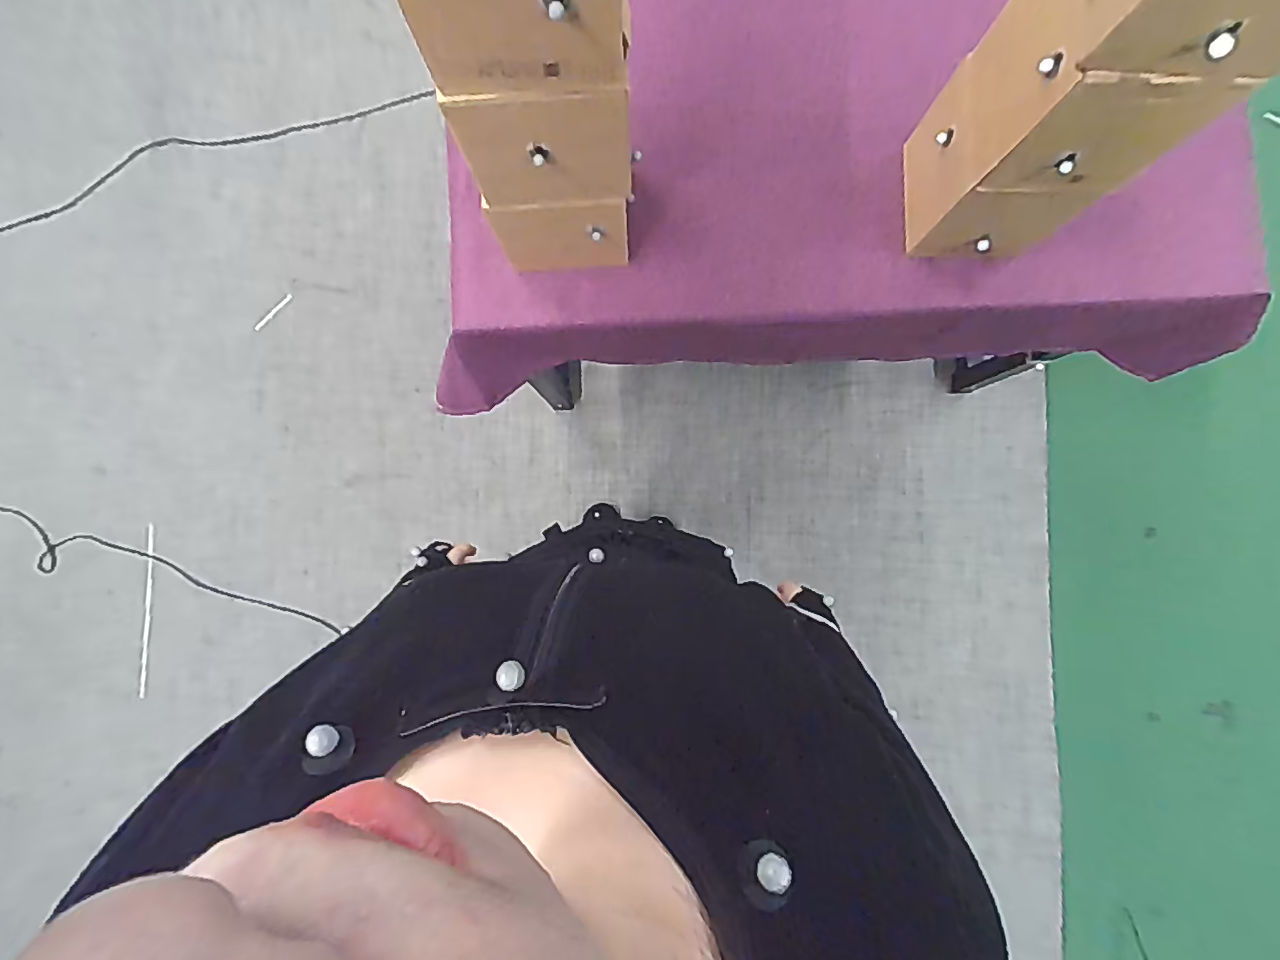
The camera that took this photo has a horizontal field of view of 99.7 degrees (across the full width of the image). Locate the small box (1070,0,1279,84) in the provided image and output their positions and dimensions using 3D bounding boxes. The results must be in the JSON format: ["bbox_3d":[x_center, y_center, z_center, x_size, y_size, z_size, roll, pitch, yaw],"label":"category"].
[{"bbox_3d":[0.473,-0.436,0.401,0.179,0.176,0.168,3,87,0],"label":"small box"}]

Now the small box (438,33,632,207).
[{"bbox_3d":[-0.099,-0.414,0.571,0.179,0.176,0.168,-4,86,0],"label":"small box"}]

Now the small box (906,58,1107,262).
[{"bbox_3d":[0.477,-0.418,0.728,0.168,0.176,0.179,1,87,2],"label":"small box"}]

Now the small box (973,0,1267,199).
[{"bbox_3d":[0.477,-0.428,0.565,0.168,0.176,0.179,1,87,1],"label":"small box"}]

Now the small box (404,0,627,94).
[{"bbox_3d":[-0.094,-0.432,0.409,0.168,0.176,0.179,0,86,-1],"label":"small box"}]
